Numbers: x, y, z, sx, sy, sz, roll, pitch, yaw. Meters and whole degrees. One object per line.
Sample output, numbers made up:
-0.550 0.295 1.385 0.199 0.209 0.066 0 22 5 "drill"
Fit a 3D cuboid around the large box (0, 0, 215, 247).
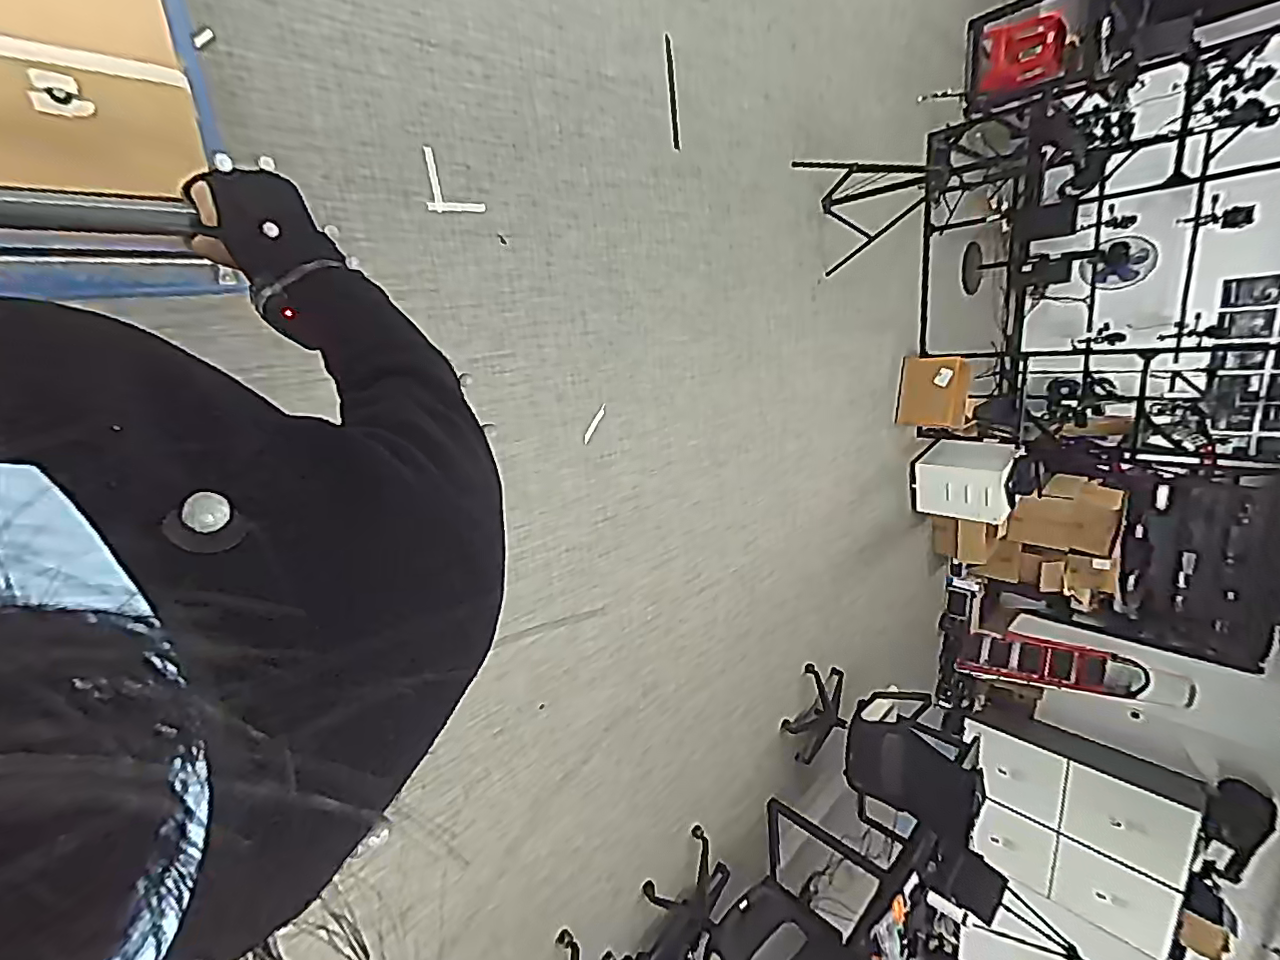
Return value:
-0.882 -0.508 0.728 0.408 0.320 0.320 -19 111 -42 "large box"
